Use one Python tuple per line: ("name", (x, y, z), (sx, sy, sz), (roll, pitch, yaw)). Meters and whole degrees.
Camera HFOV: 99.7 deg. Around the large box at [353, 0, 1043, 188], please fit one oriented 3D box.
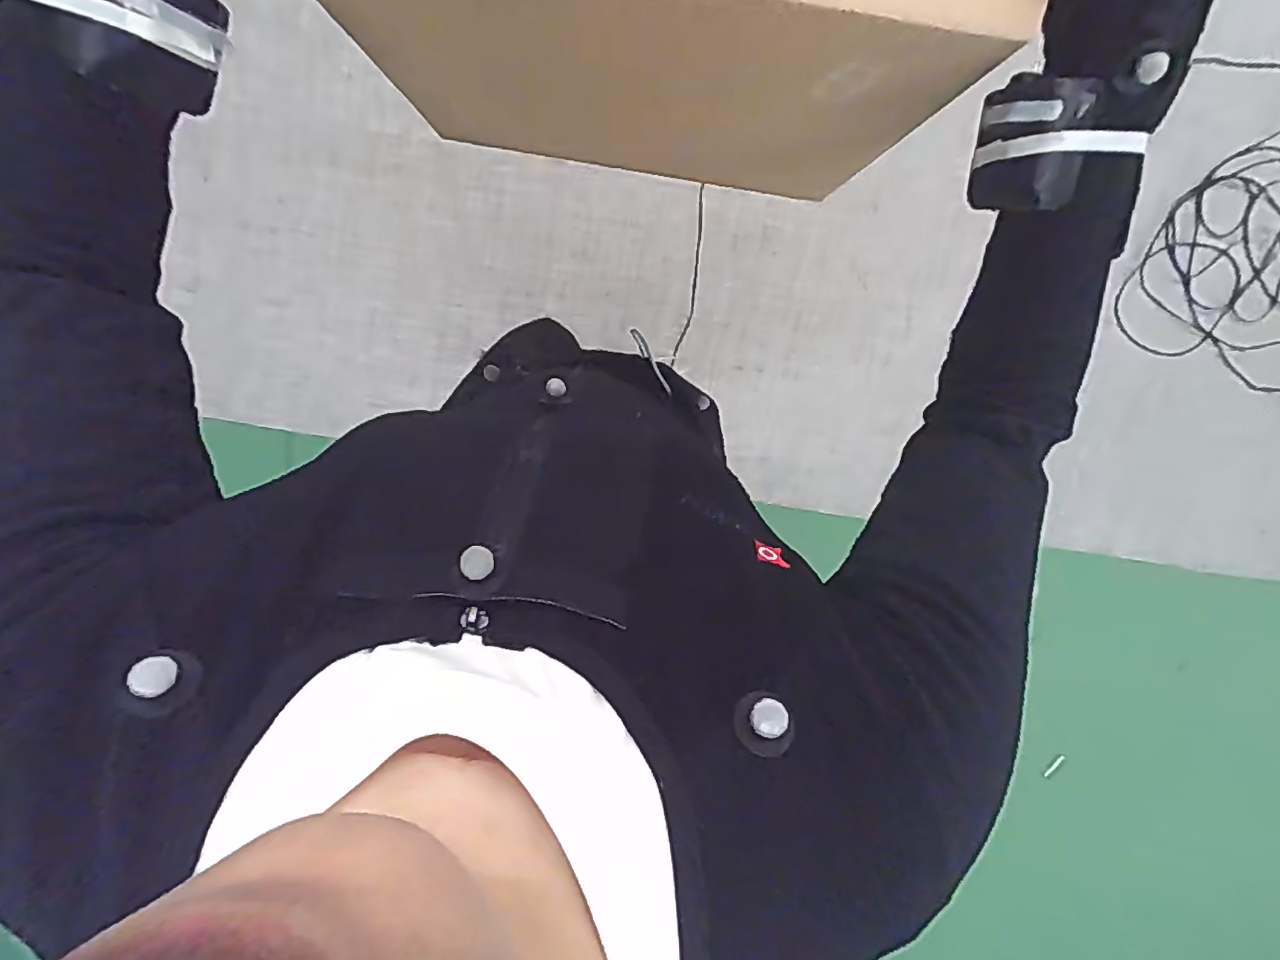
("large box", (0.026, -0.441, 0.385), (0.408, 0.320, 0.320), (7, 104, -4))
